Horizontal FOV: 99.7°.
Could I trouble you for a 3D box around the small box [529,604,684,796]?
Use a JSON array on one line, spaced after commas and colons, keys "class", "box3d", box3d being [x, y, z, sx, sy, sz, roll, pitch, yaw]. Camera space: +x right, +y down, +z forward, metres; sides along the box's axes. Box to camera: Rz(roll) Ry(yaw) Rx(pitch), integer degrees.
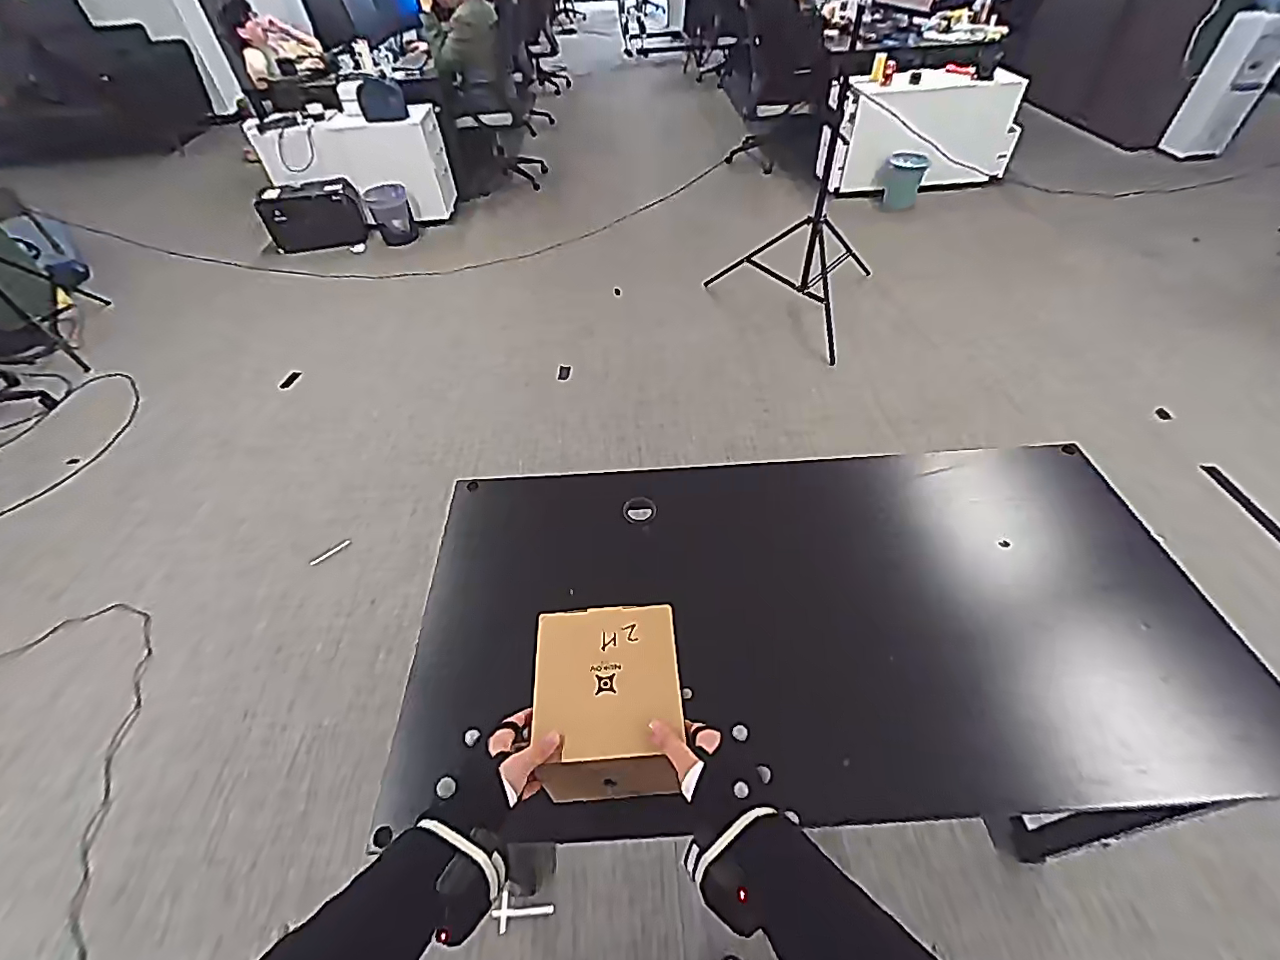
[{"class": "small box", "box3d": [-0.035, 0.279, 0.675, 0.168, 0.176, 0.179, -5, 47, -1]}]
